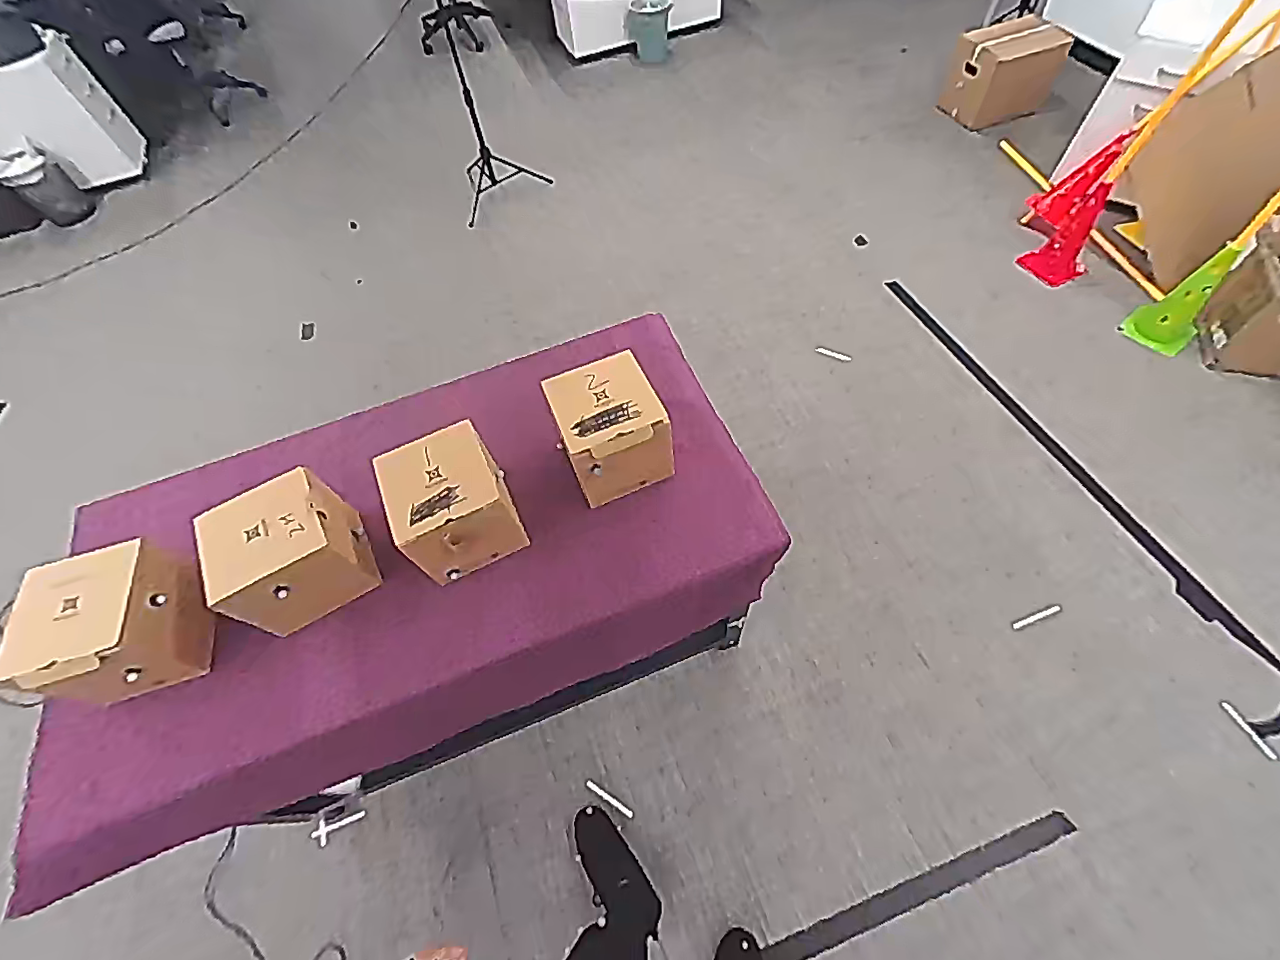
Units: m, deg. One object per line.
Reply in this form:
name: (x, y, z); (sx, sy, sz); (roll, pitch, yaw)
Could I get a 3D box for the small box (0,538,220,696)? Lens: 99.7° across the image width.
small box: (-0.792, 0.219, 0.835); (0.168, 0.176, 0.179); (-16, 58, -5)

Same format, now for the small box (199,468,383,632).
small box: (-0.555, 0.119, 0.873); (0.179, 0.176, 0.168); (-28, 61, -12)

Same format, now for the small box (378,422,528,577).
small box: (-0.302, 0.041, 0.898); (0.168, 0.176, 0.179); (-24, 59, -10)
